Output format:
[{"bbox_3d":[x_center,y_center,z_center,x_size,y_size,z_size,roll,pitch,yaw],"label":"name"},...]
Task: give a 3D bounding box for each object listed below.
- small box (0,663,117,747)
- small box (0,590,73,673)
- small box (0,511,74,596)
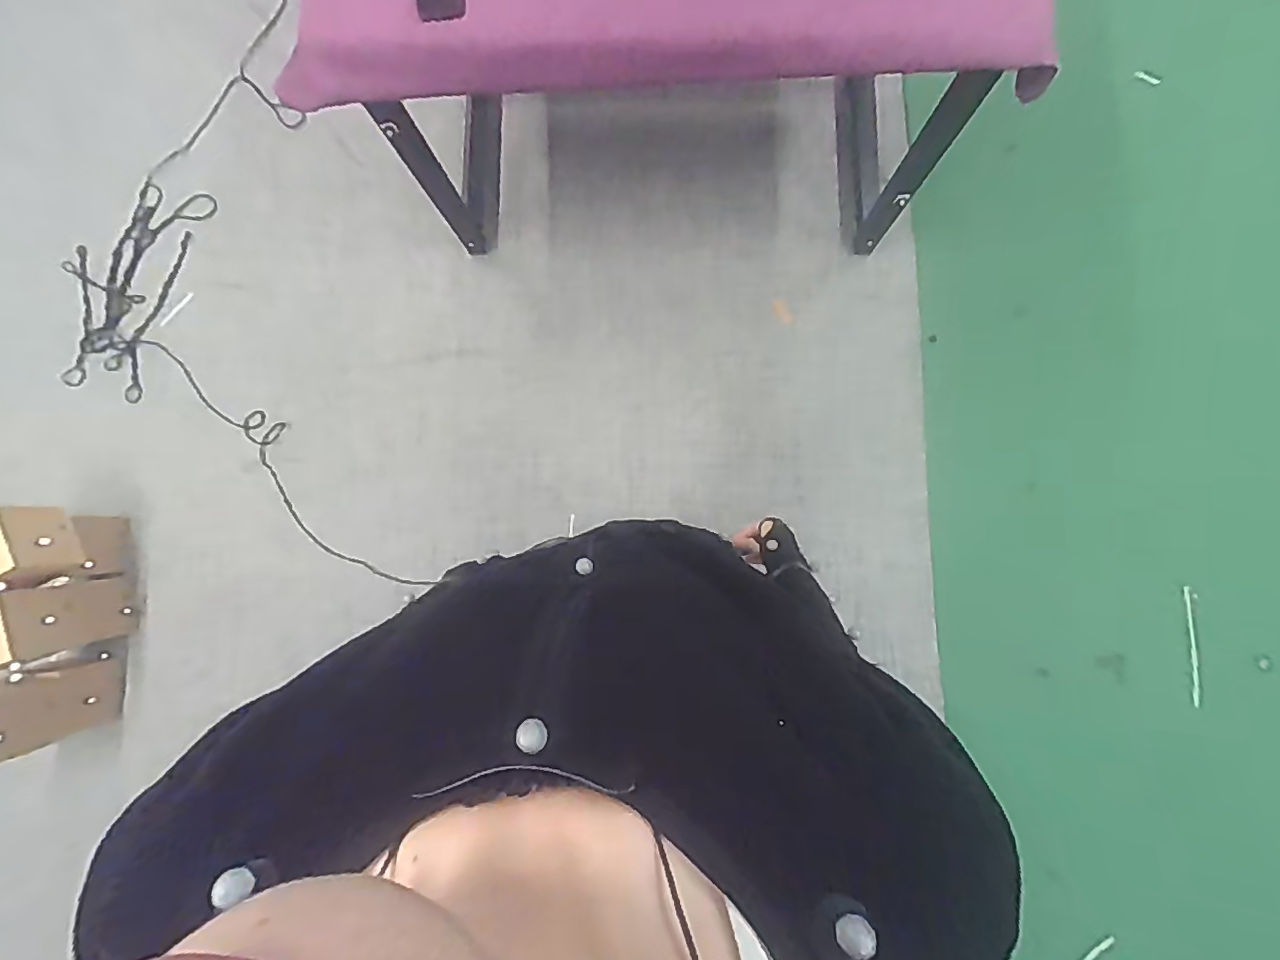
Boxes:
[{"bbox_3d":[-1.570,0.598,1.458,0.168,0.176,0.179,-1,86,3],"label":"small box"},{"bbox_3d":[-1.545,0.377,1.314,0.179,0.176,0.168,-18,84,1],"label":"small box"},{"bbox_3d":[-1.561,0.180,1.329,0.179,0.176,0.168,-26,84,1],"label":"small box"}]
